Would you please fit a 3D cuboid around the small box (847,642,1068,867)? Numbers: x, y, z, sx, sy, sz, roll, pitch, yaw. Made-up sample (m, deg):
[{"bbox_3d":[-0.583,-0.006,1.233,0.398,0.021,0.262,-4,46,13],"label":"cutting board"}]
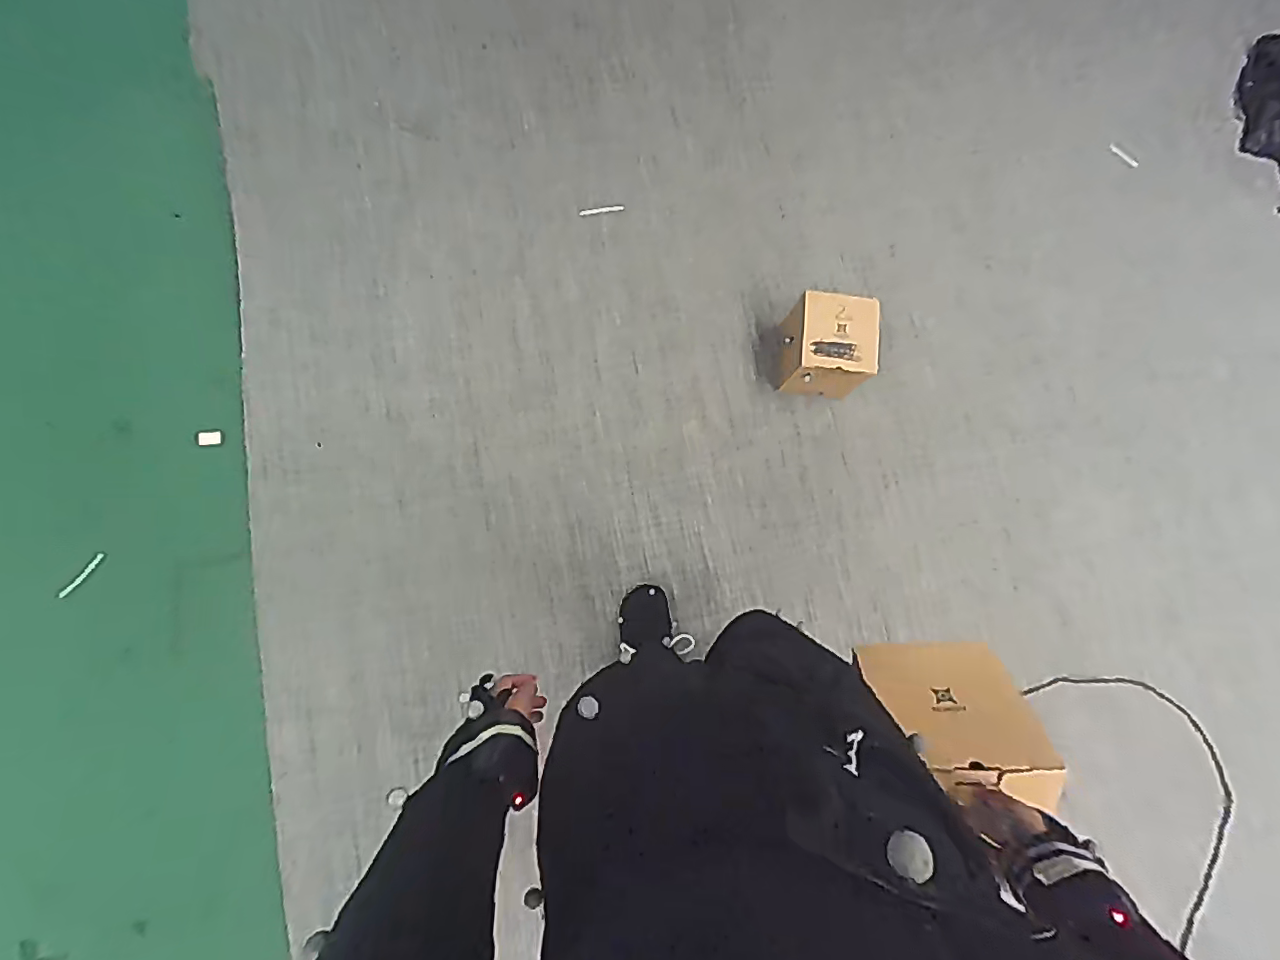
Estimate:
[{"bbox_3d":[0.353,0.317,0.645,0.168,0.179,0.176,-3,117,8],"label":"small box"}]
